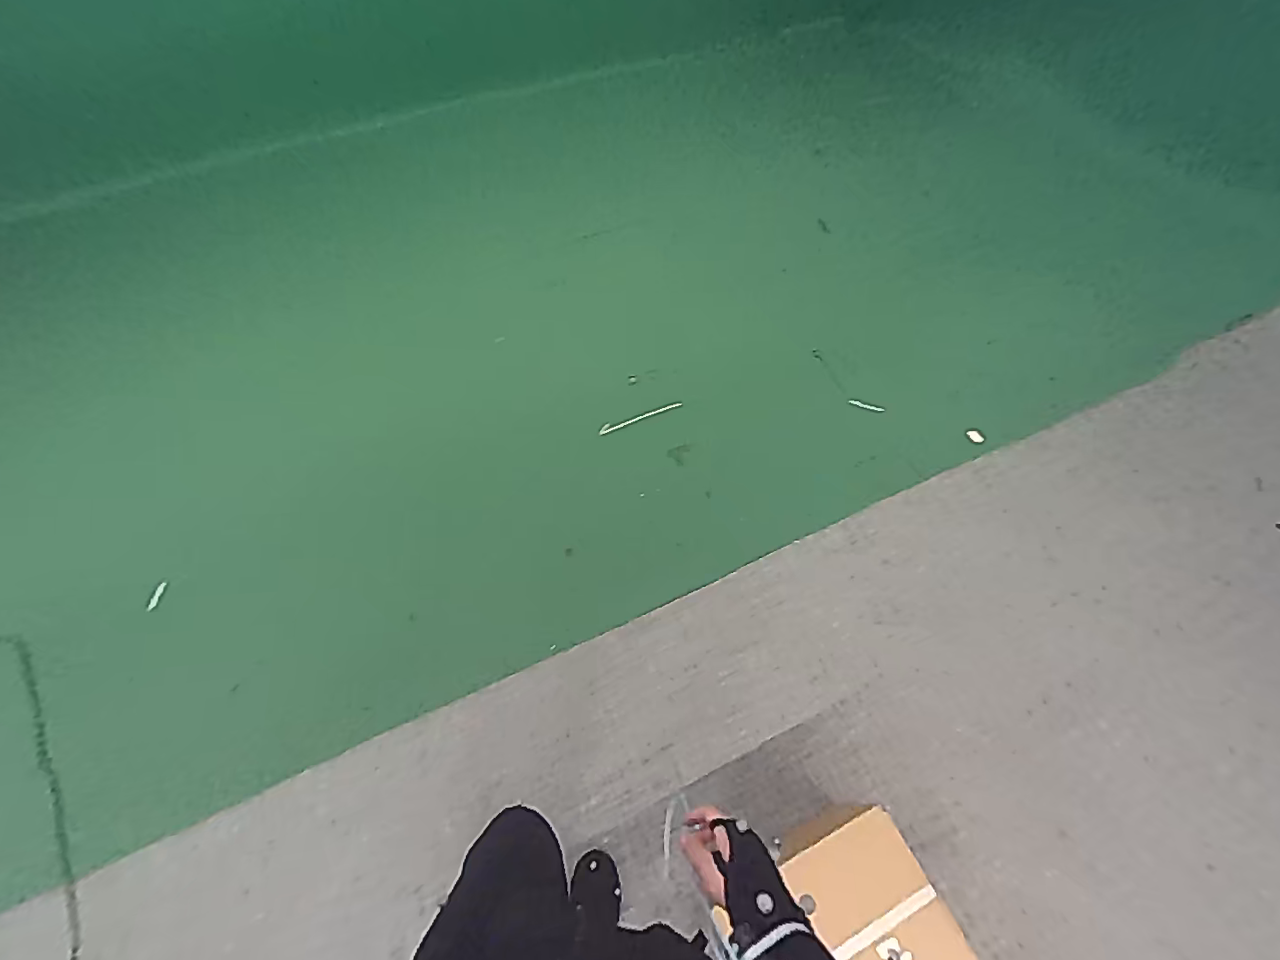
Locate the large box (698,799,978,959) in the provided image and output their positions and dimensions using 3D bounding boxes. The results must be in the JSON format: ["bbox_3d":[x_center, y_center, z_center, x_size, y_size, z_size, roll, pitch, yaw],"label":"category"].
[{"bbox_3d":[0.374,0.921,1.110,0.408,0.320,0.320,-23,61,-13],"label":"large box"}]
